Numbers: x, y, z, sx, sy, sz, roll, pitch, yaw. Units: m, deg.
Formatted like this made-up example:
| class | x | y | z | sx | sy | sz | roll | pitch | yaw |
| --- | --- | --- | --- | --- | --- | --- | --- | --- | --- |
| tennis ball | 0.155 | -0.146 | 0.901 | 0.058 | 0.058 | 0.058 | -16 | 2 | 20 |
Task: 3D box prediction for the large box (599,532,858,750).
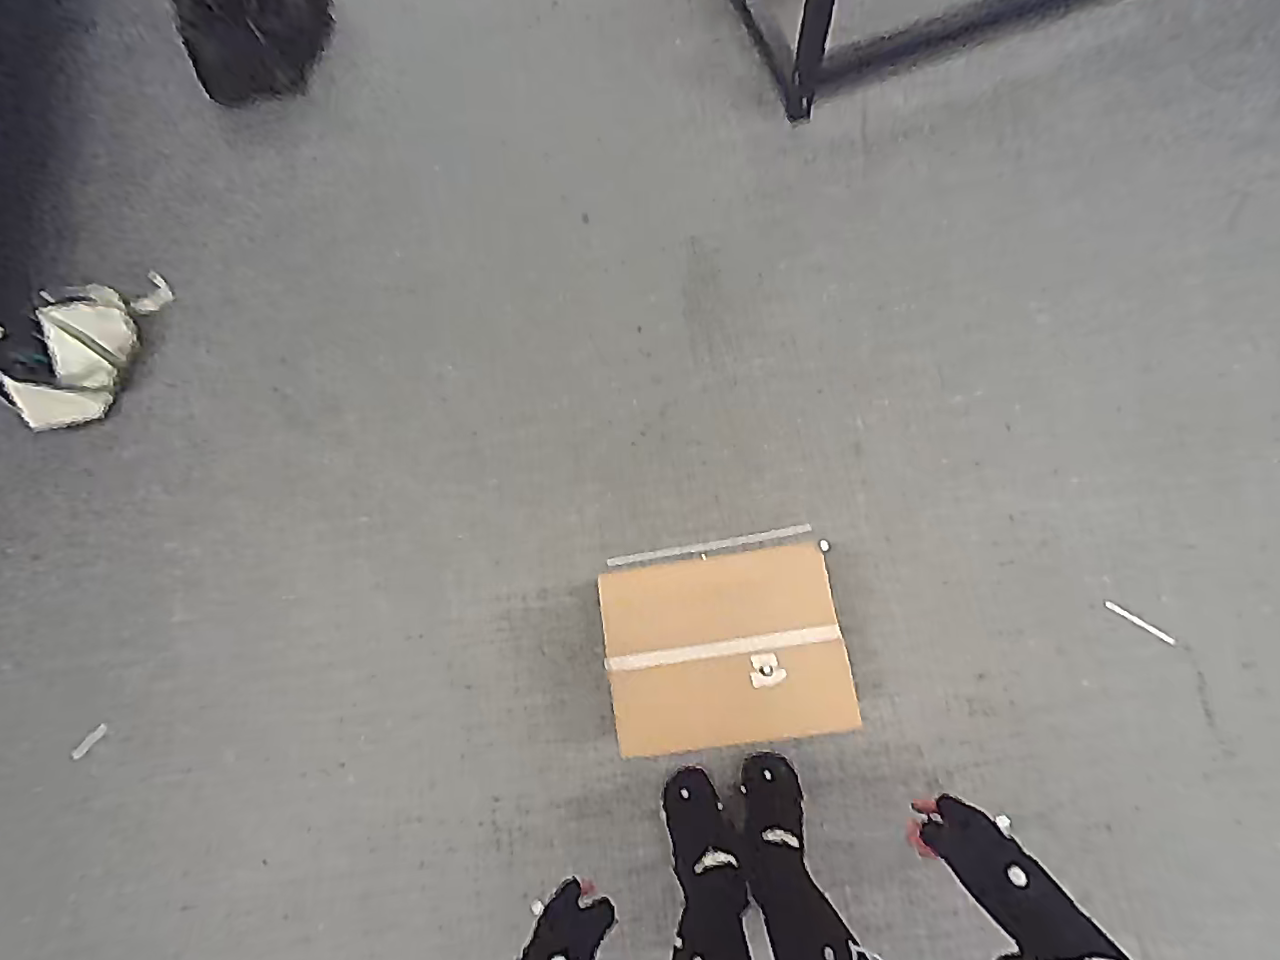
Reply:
| class | x | y | z | sx | sy | sz | roll | pitch | yaw |
| --- | --- | --- | --- | --- | --- | --- | --- | --- | --- |
| large box | 0.156 | 0.308 | 1.079 | 0.408 | 0.320 | 0.320 | -10 | 77 | 4 |
